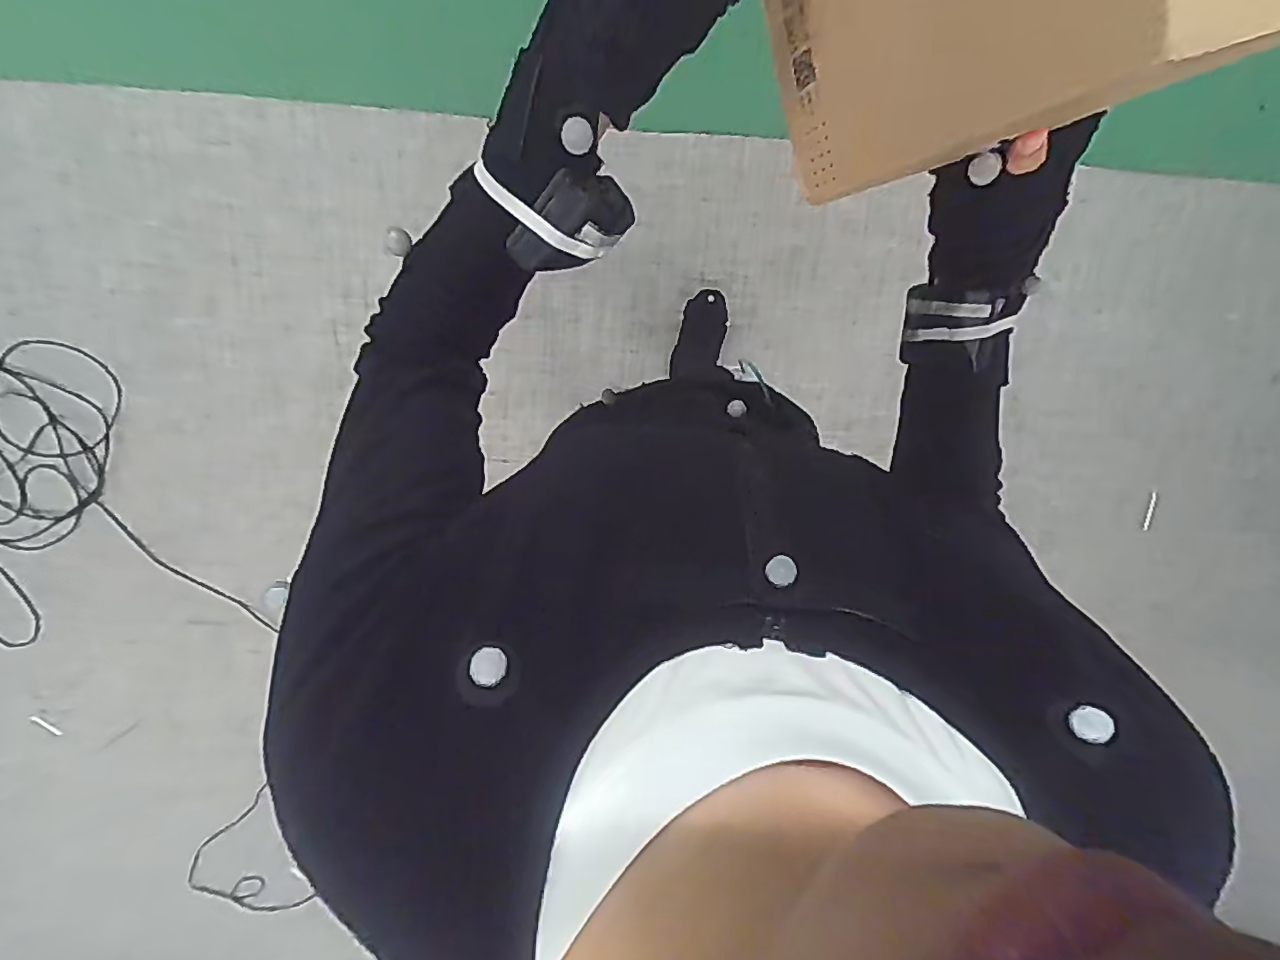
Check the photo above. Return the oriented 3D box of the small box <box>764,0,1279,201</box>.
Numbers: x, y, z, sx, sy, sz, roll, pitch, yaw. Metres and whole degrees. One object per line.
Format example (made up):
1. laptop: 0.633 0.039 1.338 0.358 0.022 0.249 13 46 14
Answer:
1. small box: 0.172 -0.240 0.223 0.179 0.176 0.168 -24 109 -16
